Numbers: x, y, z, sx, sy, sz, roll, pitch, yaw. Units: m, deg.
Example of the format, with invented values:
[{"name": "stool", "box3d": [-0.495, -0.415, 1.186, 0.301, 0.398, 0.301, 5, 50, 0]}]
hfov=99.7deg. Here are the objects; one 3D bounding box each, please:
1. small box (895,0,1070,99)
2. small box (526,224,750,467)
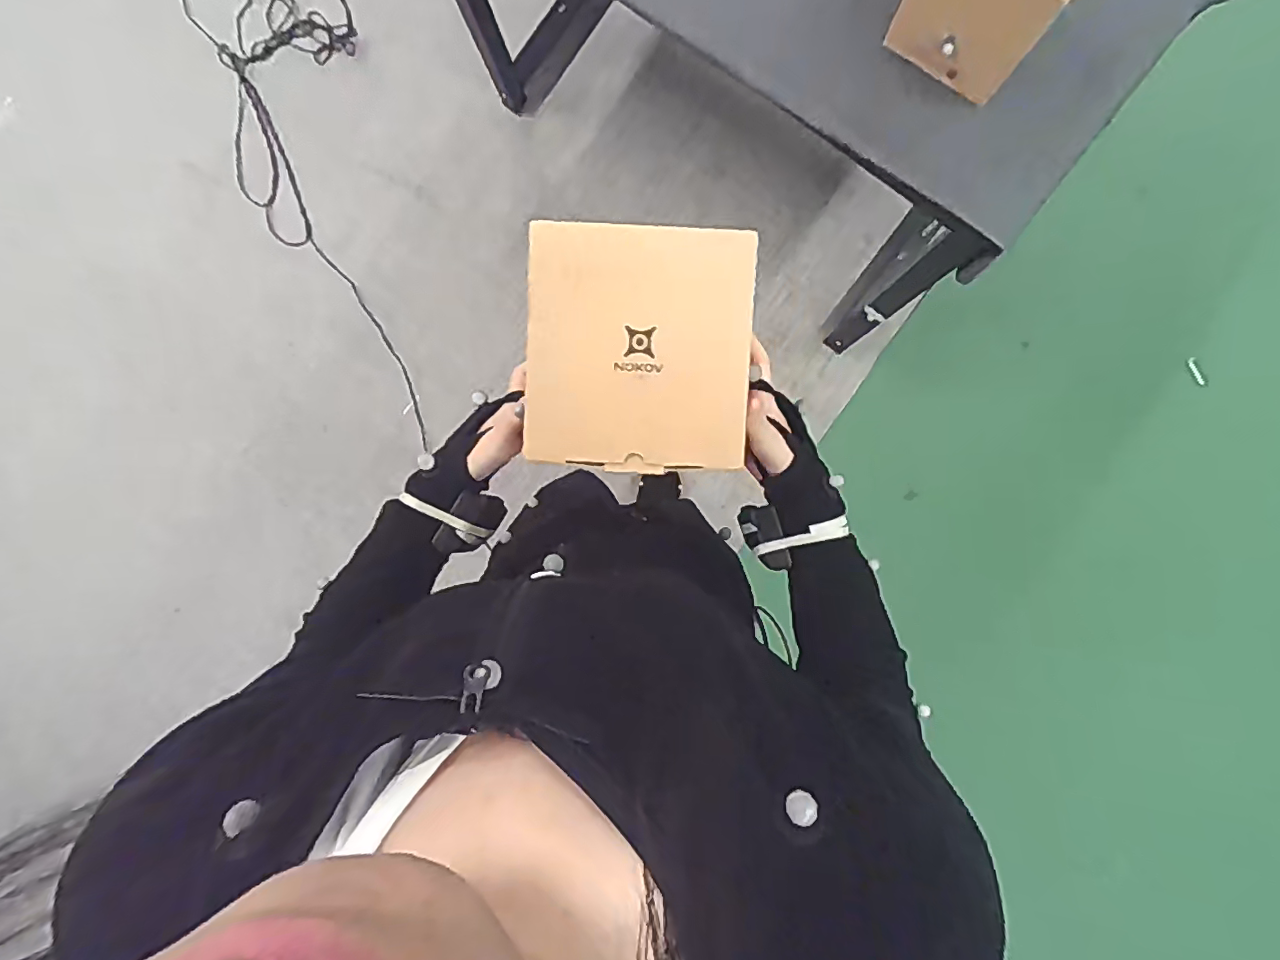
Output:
[{"name": "small box", "box3d": [0.448, -0.628, 0.657, 0.168, 0.176, 0.179, 35, 92, 4]}, {"name": "small box", "box3d": [-0.004, -0.106, 0.482, 0.168, 0.176, 0.179, 1, 96, 0]}]
